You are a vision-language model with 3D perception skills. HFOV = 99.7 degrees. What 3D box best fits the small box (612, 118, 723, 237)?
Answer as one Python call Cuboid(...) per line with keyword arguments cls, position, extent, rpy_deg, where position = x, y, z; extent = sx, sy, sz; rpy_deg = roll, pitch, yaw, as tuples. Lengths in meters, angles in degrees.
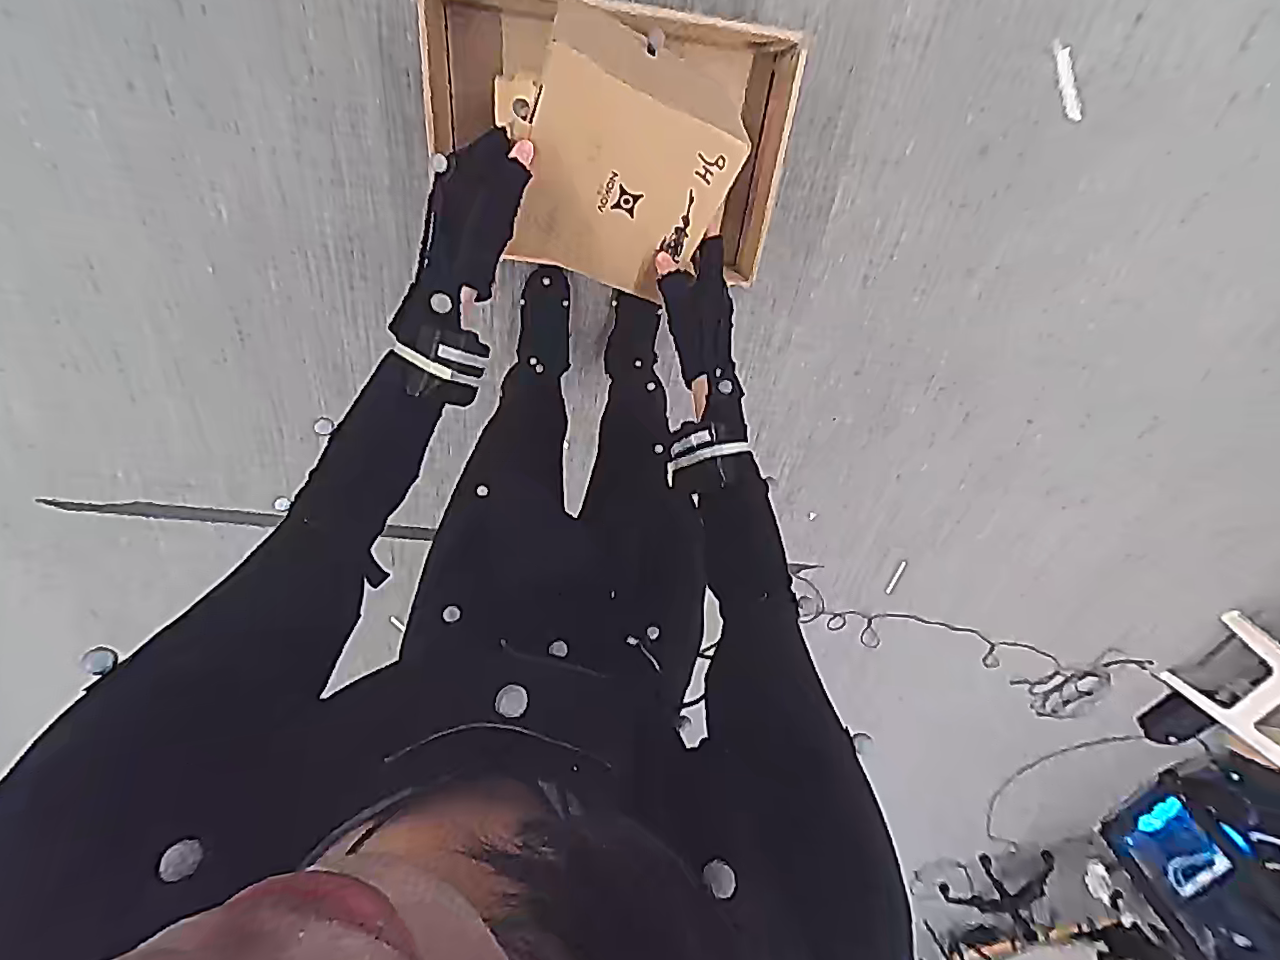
Cuboid(cls="small box", position=(0.042, -0.570, 1.018), extent=(0.179, 0.176, 0.168), rpy_deg=(6, 121, -6))
